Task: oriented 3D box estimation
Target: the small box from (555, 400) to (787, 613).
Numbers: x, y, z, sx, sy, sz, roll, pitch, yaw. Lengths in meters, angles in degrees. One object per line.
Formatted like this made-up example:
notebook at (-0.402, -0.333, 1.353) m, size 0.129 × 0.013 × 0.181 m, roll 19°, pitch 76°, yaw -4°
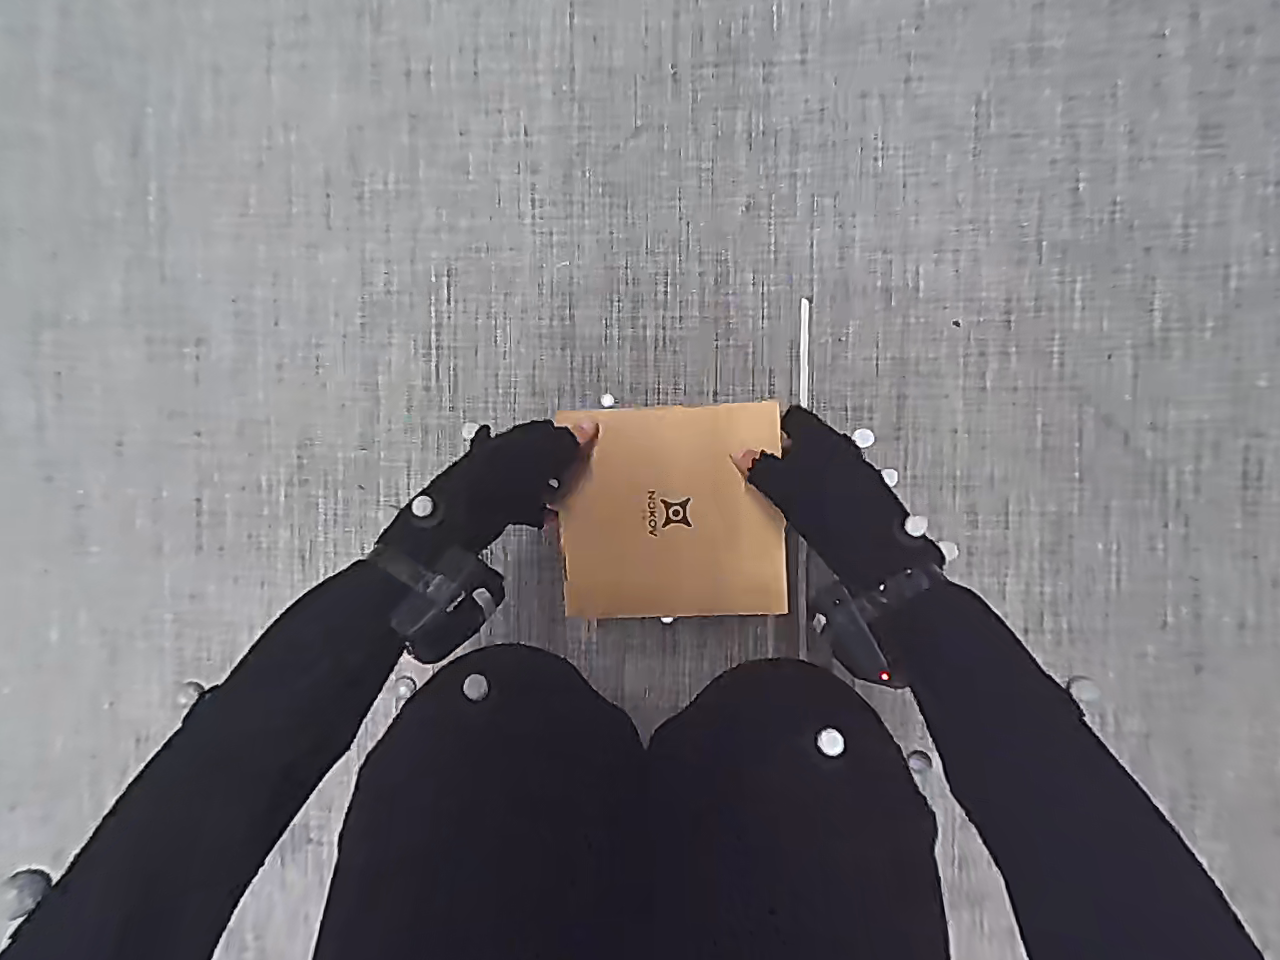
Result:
small box at (0.029, 0.014, 0.495) m, size 0.179 × 0.176 × 0.168 m, roll -2°, pitch 95°, yaw 5°
